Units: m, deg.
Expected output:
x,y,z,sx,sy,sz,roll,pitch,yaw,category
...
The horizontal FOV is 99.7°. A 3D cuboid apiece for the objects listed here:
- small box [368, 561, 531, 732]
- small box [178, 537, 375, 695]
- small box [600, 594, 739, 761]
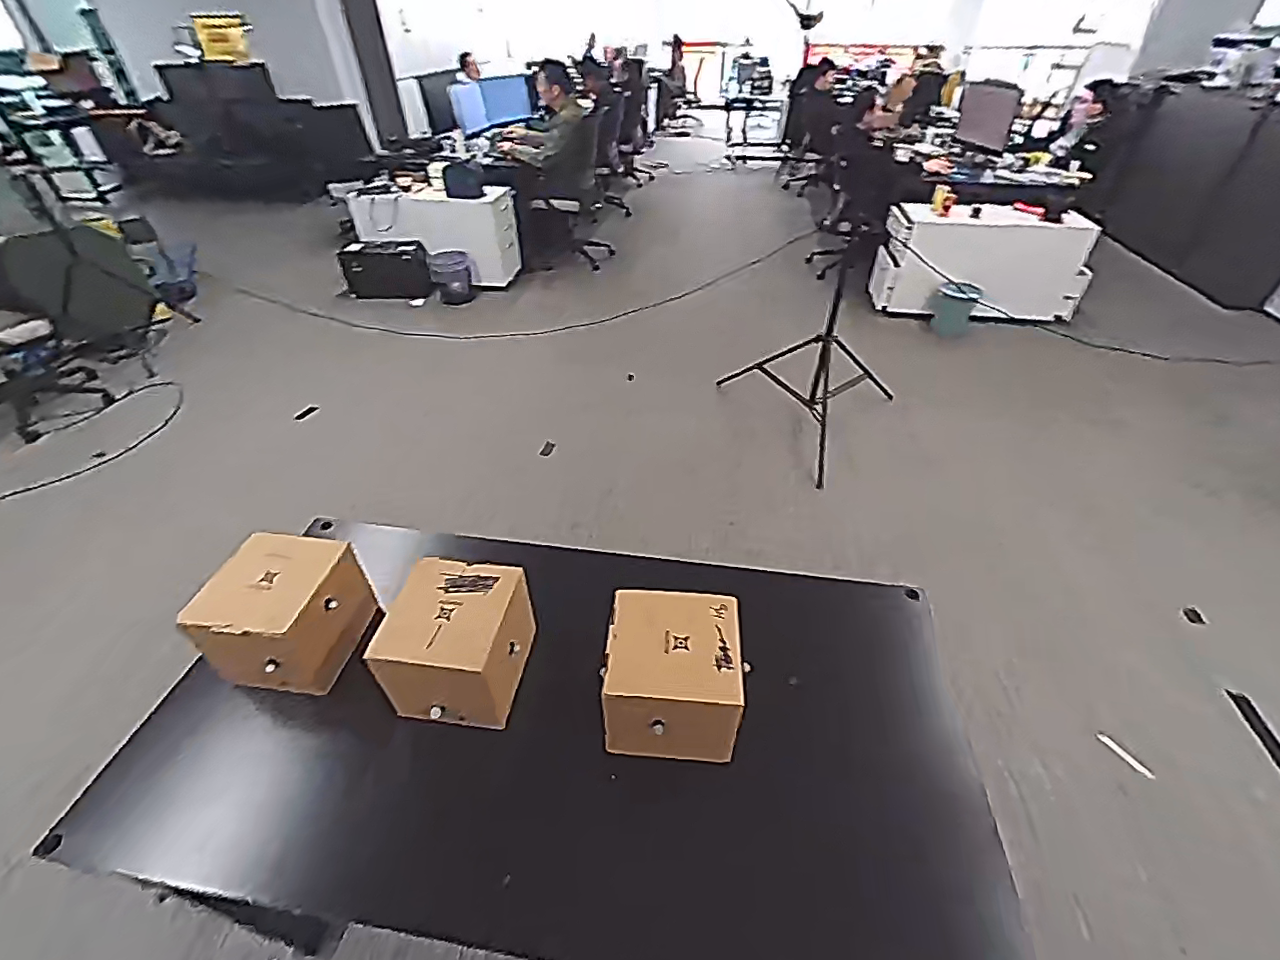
x,y,z,sx,sy,sz,roll,pitch,yaw,category
-0.270,0.249,0.818,0.168,0.176,0.179,5,41,6,small box
-0.552,0.216,0.857,0.168,0.176,0.179,5,40,4,small box
0.044,0.284,0.778,0.179,0.176,0.168,2,41,4,small box
